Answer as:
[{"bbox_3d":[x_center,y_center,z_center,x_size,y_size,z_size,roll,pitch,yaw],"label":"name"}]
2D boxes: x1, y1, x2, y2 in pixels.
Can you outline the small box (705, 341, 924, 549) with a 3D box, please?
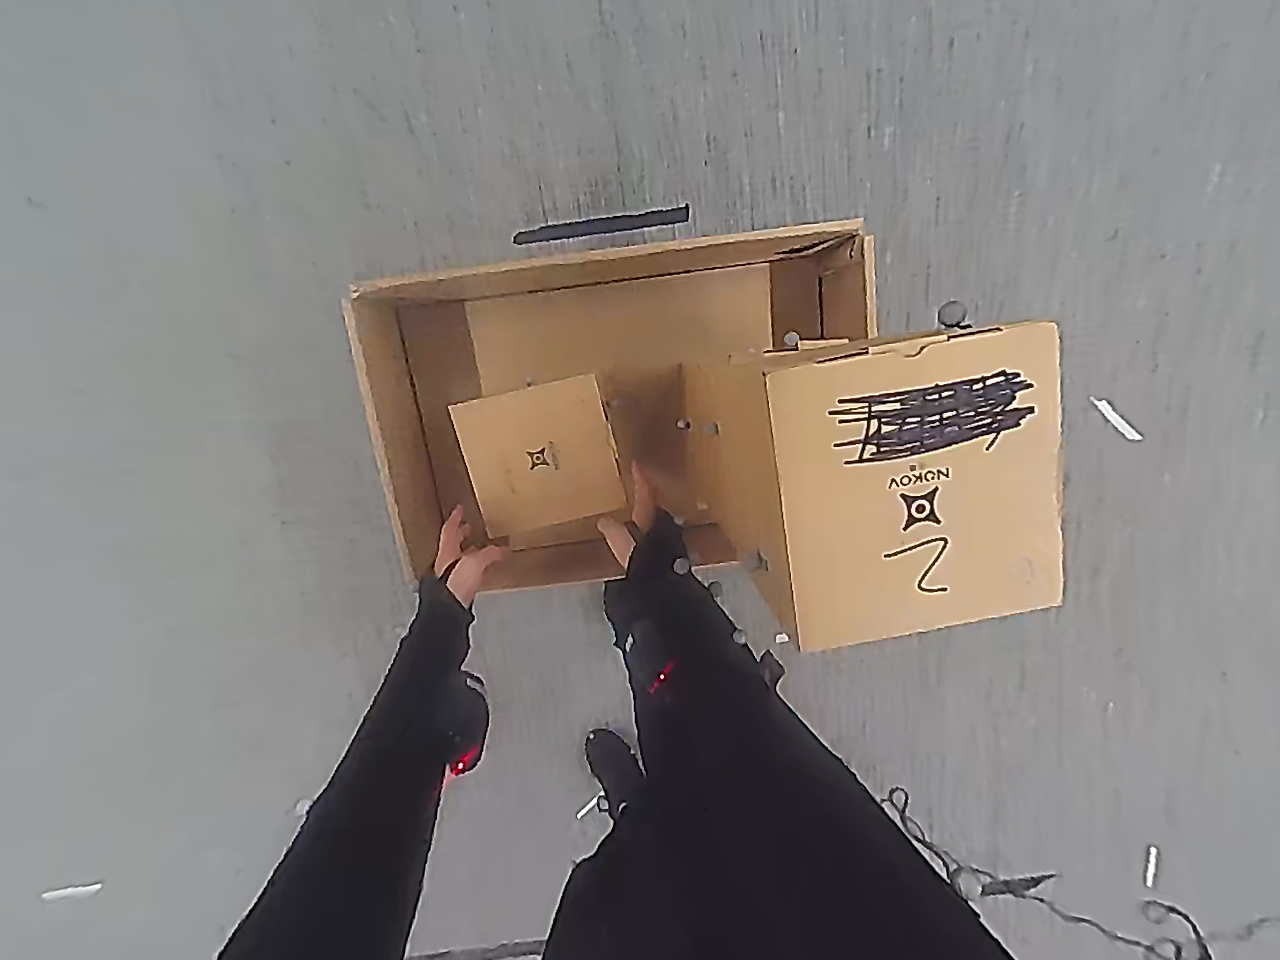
[{"bbox_3d":[0.161,-0.042,0.550,0.168,0.176,0.179,-4,101,-2],"label":"small box"}]
